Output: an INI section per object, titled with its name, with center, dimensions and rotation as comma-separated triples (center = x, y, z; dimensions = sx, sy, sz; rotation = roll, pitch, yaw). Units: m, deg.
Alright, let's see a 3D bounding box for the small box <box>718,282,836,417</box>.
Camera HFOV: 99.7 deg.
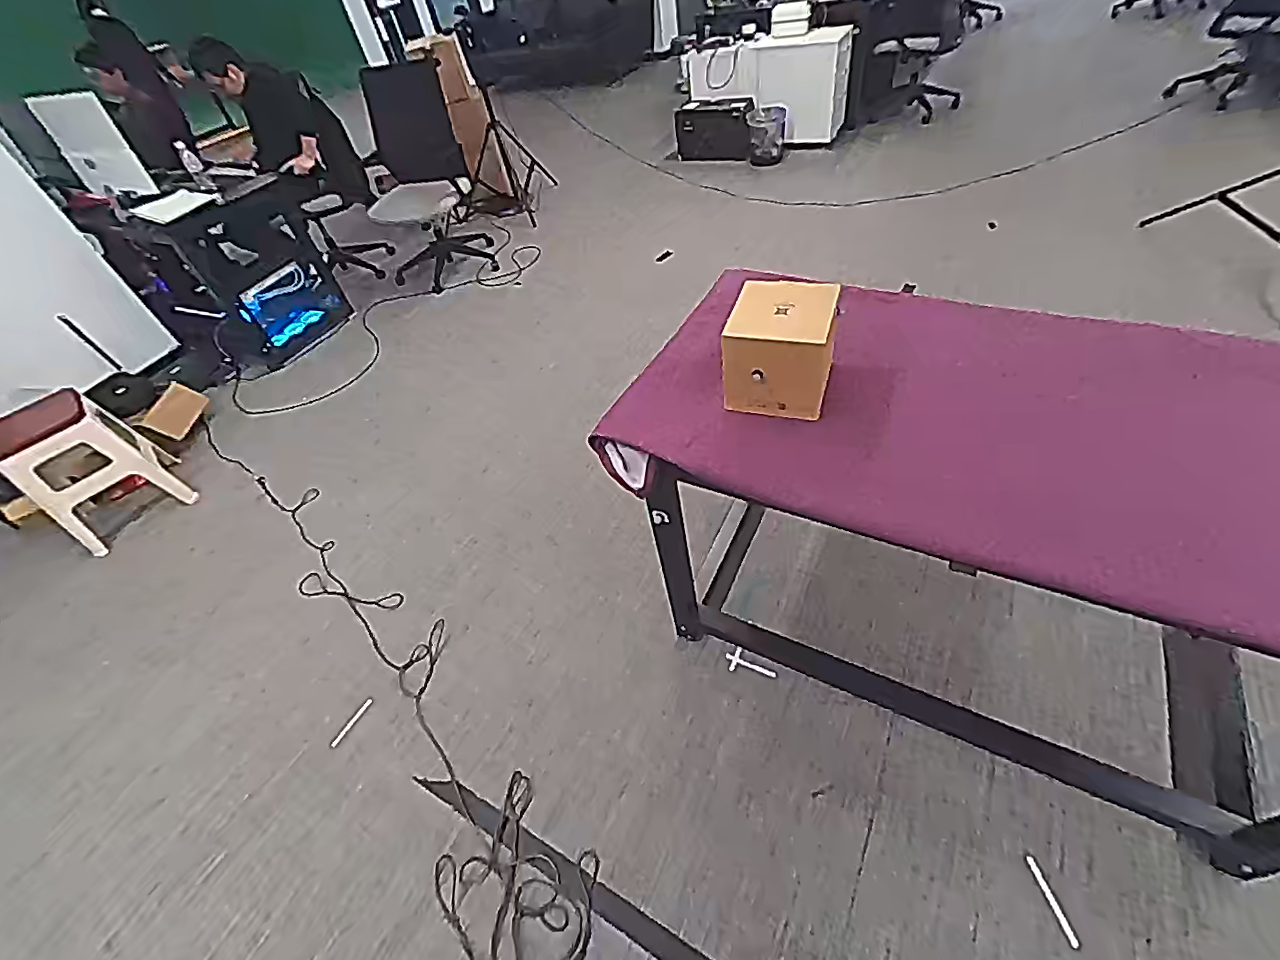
[small box]
center = 0.246, -0.232, 0.964
dimensions = 0.168, 0.176, 0.179
rotation = 10, 51, 20
